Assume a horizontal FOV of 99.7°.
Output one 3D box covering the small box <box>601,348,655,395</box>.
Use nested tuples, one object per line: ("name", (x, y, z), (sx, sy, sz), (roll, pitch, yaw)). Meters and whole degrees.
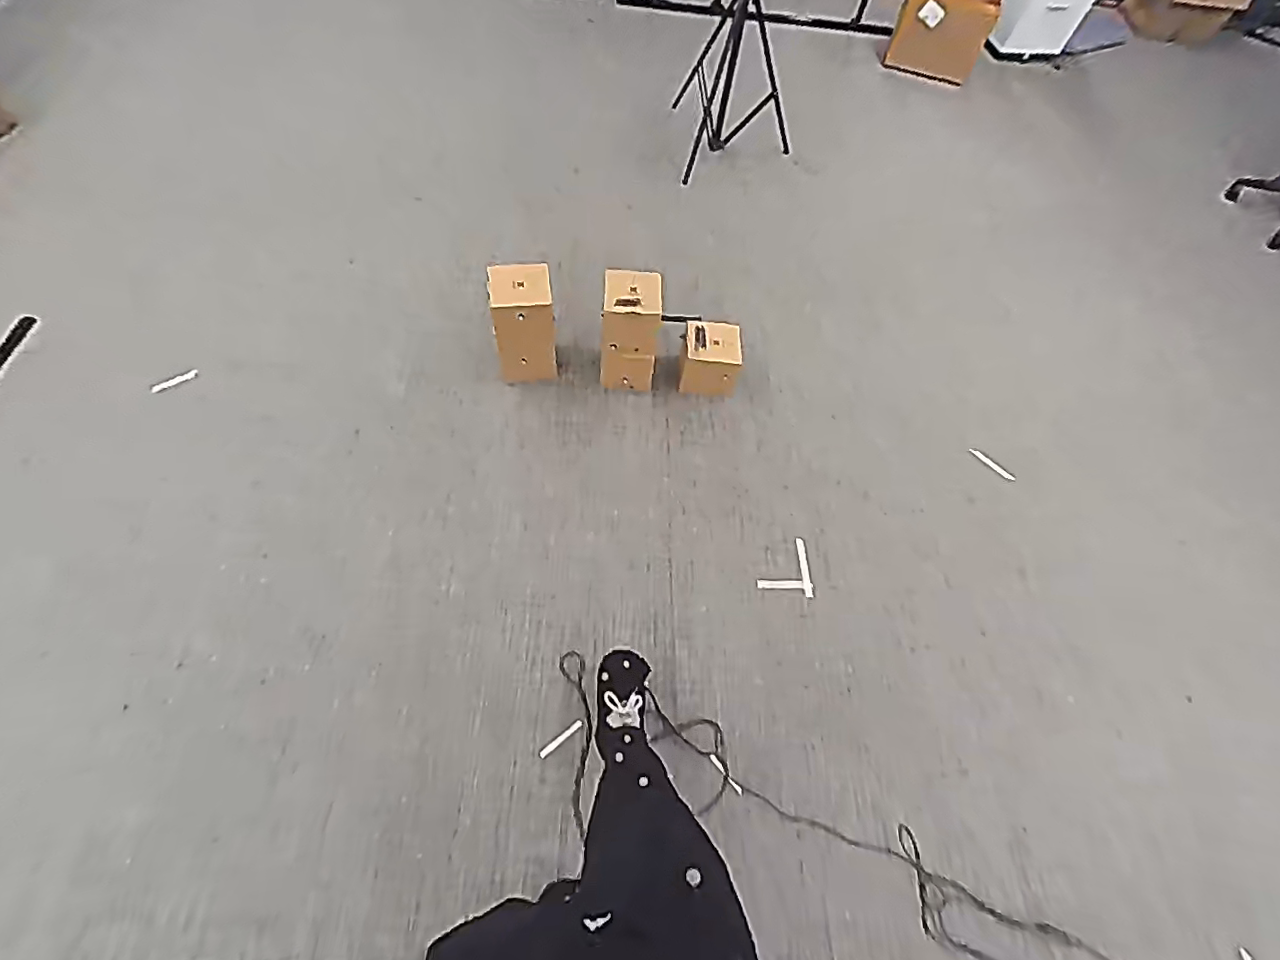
("small box", (-0.038, -0.404, 1.768), (0.168, 0.176, 0.179), (5, 61, -2))

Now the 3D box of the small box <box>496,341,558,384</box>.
("small box", (-0.367, -0.427, 1.749), (0.179, 0.176, 0.168), (-8, 63, -9))

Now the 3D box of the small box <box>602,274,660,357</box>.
("small box", (-0.027, -0.492, 1.629), (0.168, 0.176, 0.179), (3, 60, -5))

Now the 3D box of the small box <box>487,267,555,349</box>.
("small box", (-0.350, -0.506, 1.607), (0.179, 0.176, 0.168), (-6, 63, -10))
